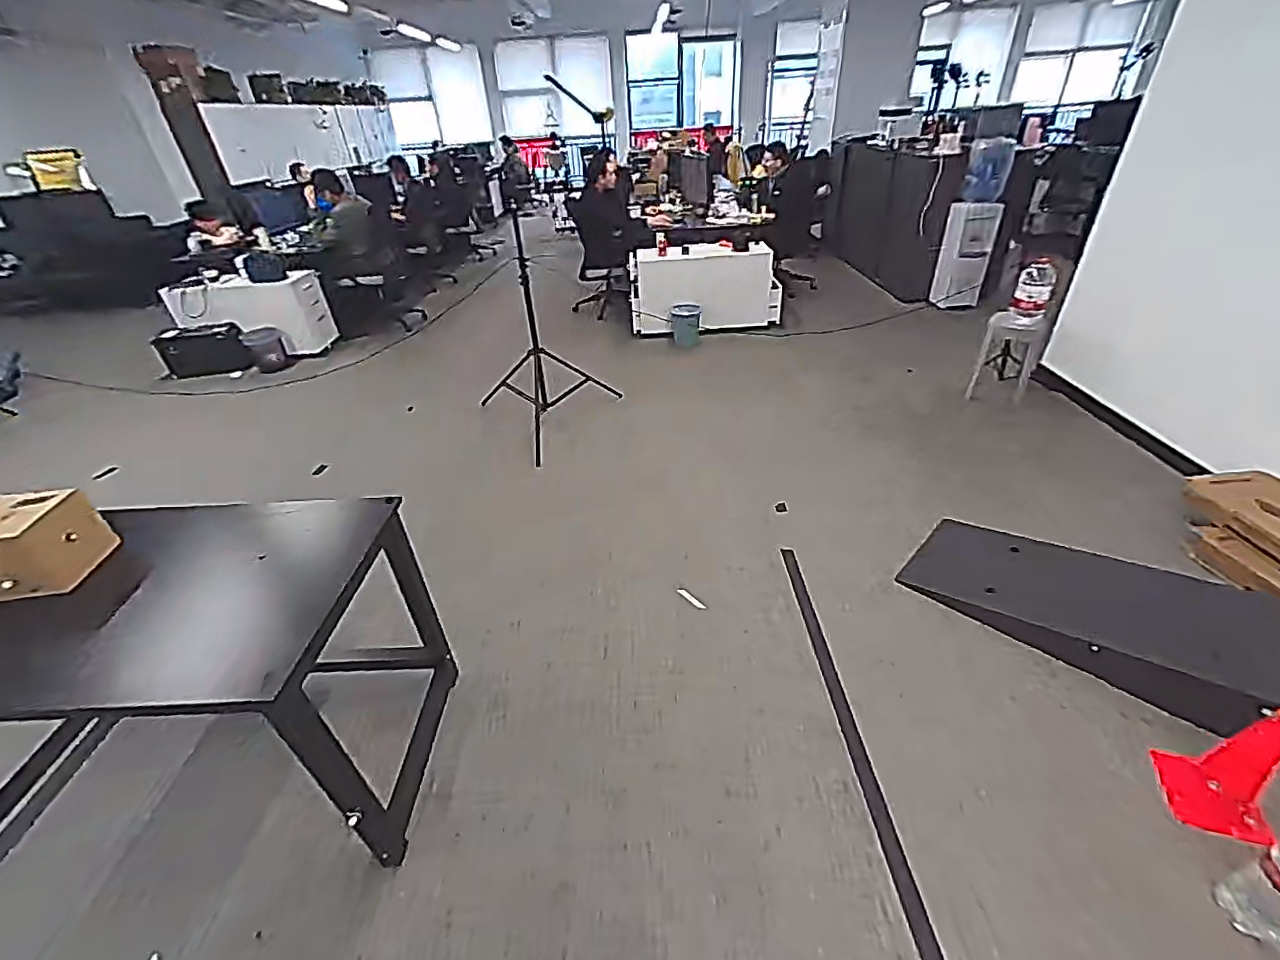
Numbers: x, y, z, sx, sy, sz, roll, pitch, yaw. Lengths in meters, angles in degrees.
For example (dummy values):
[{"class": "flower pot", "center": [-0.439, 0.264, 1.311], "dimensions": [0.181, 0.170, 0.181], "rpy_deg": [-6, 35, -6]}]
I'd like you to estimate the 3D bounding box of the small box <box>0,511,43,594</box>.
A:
[{"class": "small box", "center": [-1.539, 0.182, 1.216], "dimensions": [0.168, 0.176, 0.179], "rpy_deg": [-1, 34, 4]}]
